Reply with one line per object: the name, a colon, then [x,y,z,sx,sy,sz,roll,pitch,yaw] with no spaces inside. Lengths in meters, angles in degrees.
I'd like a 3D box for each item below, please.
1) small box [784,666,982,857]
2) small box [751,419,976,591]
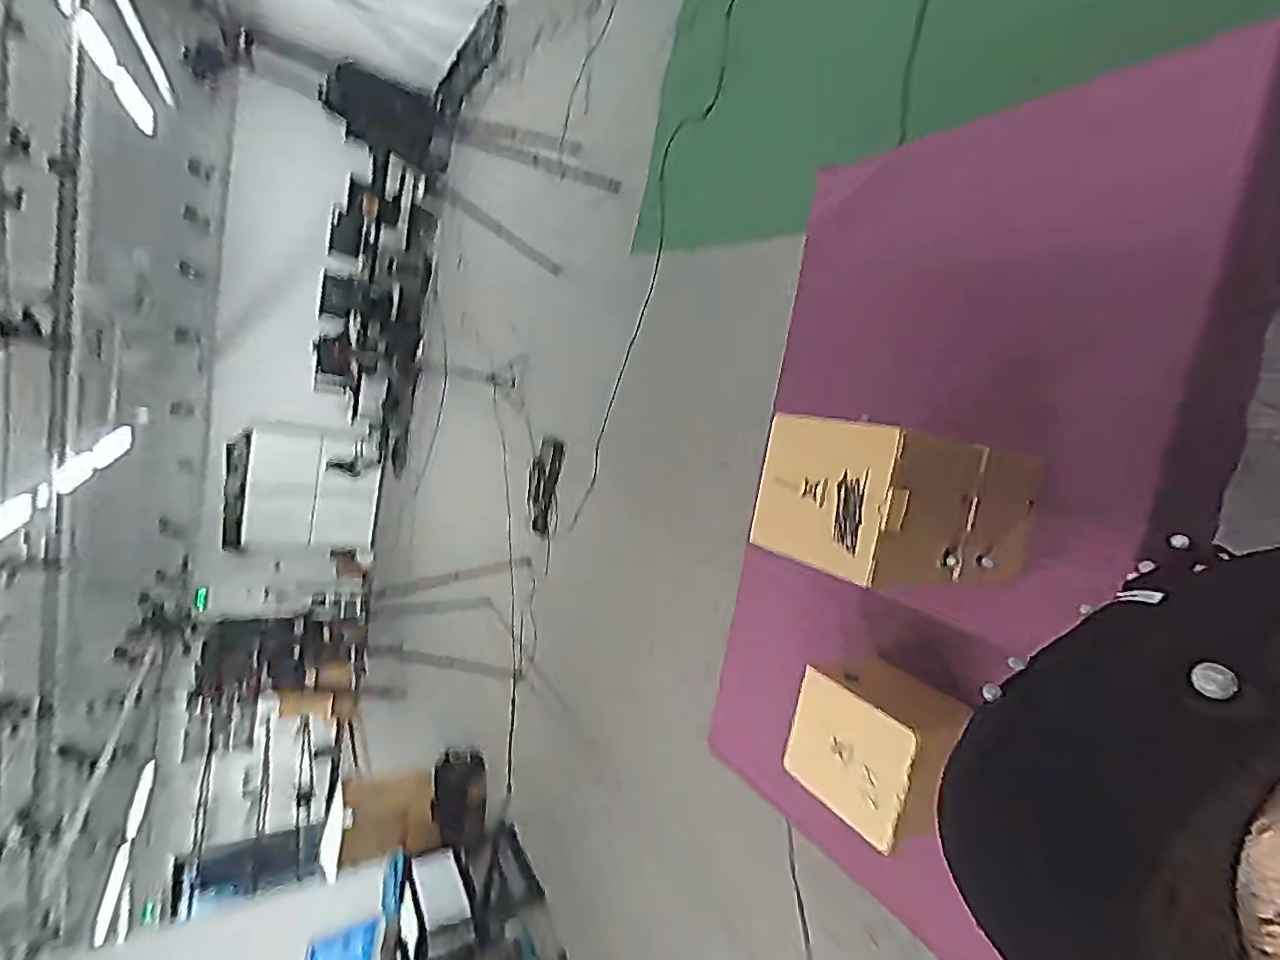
small box: [0.343,0.382,0.773,0.179,0.176,0.168,20,102,55]
small box: [0.267,0.025,0.653,0.179,0.176,0.168,18,99,57]
